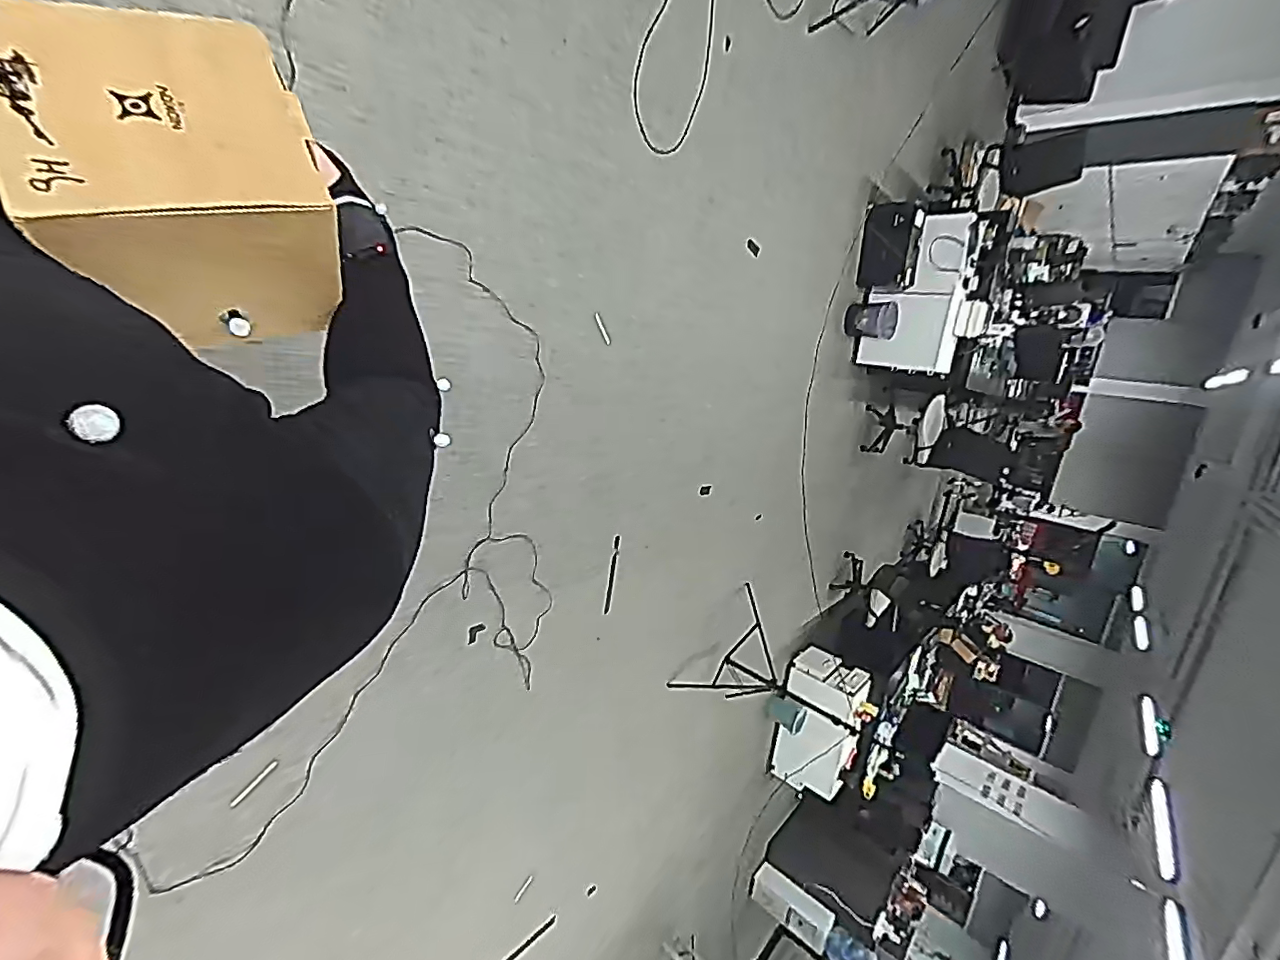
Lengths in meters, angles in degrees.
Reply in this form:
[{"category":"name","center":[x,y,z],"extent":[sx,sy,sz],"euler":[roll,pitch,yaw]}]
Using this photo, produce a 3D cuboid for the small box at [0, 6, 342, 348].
[{"category":"small box","center":[-0.368,-0.233,0.452],"extent":[0.179,0.176,0.168],"euler":[-21,82,-31]}]
